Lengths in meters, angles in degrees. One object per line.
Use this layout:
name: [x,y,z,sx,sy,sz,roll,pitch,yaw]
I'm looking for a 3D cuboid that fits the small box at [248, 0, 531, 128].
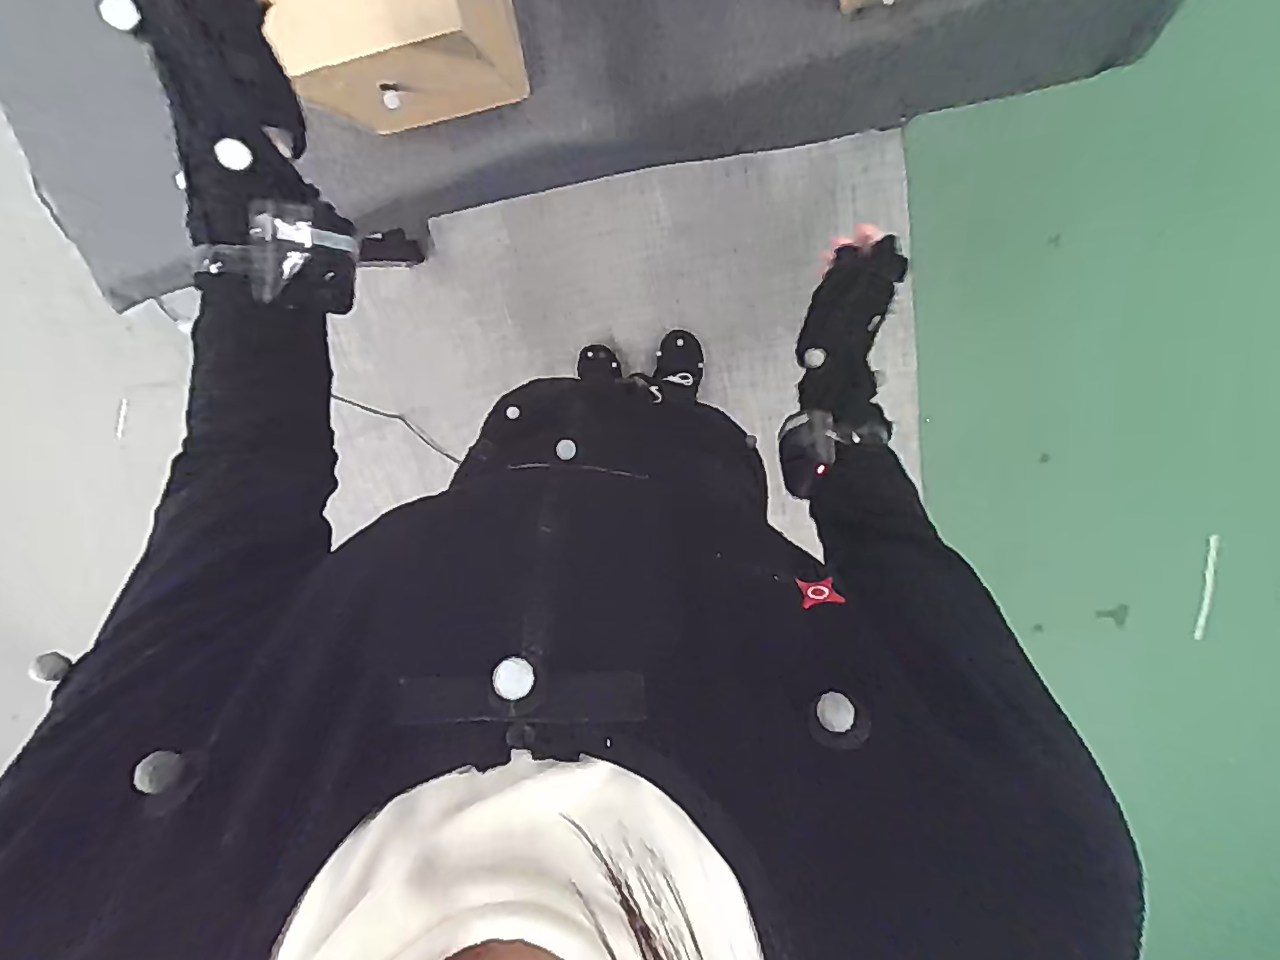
small box: [-0.218,-0.438,0.478,0.179,0.176,0.168,-6,109,10]
